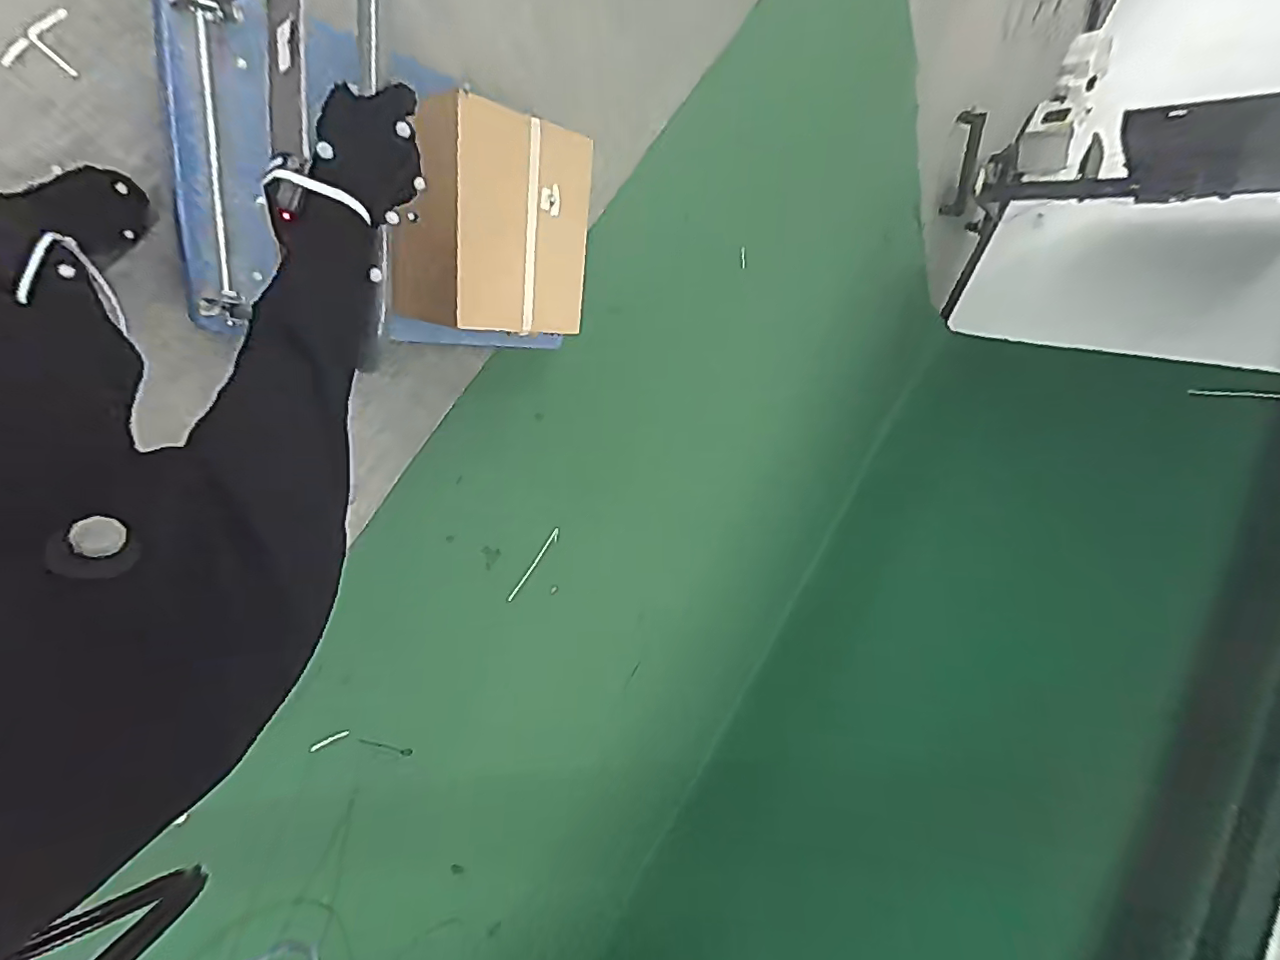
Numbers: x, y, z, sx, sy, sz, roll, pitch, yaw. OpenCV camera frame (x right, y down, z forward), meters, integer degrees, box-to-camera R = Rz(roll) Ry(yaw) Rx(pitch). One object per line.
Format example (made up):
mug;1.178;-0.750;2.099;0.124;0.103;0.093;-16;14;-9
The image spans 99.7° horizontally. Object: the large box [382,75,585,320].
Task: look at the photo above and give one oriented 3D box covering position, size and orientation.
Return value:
large box;-0.346;-0.577;1.191;0.320;0.320;0.408;-13;117;-45
